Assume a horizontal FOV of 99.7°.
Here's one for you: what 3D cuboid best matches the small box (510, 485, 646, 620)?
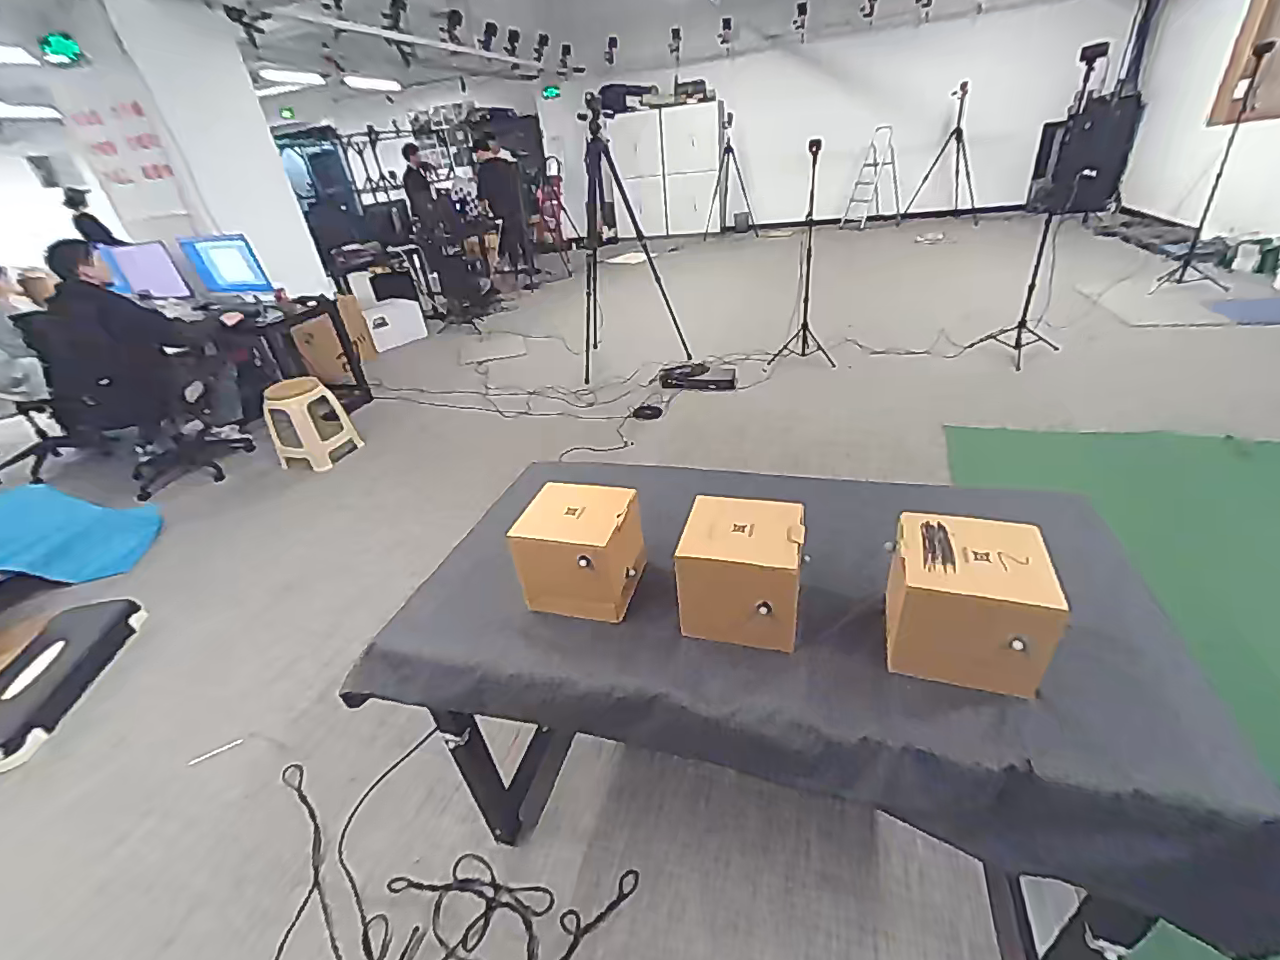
[{"bbox_3d":[-0.099,0.125,0.952,0.179,0.176,0.168,4,32,17],"label":"small box"}]

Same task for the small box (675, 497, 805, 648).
[{"bbox_3d":[0.166,0.145,0.861,0.179,0.176,0.168,2,31,19],"label":"small box"}]
